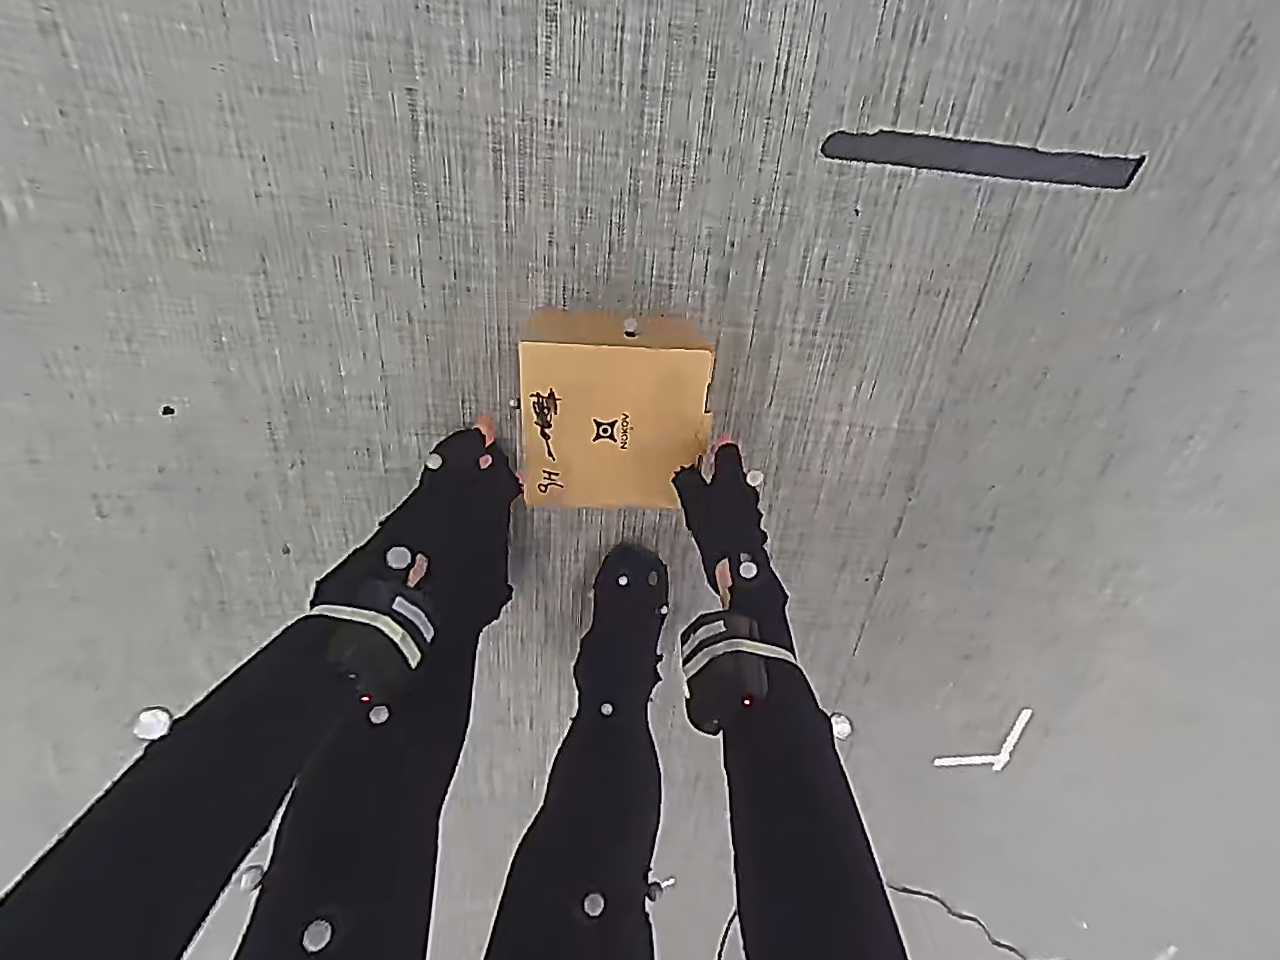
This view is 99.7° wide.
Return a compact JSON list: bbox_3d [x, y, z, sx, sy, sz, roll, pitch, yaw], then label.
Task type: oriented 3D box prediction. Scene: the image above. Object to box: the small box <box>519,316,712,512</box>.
[{"bbox_3d":[-0.035,-0.077,0.585,0.179,0.176,0.168,1,116,-7],"label":"small box"}]
